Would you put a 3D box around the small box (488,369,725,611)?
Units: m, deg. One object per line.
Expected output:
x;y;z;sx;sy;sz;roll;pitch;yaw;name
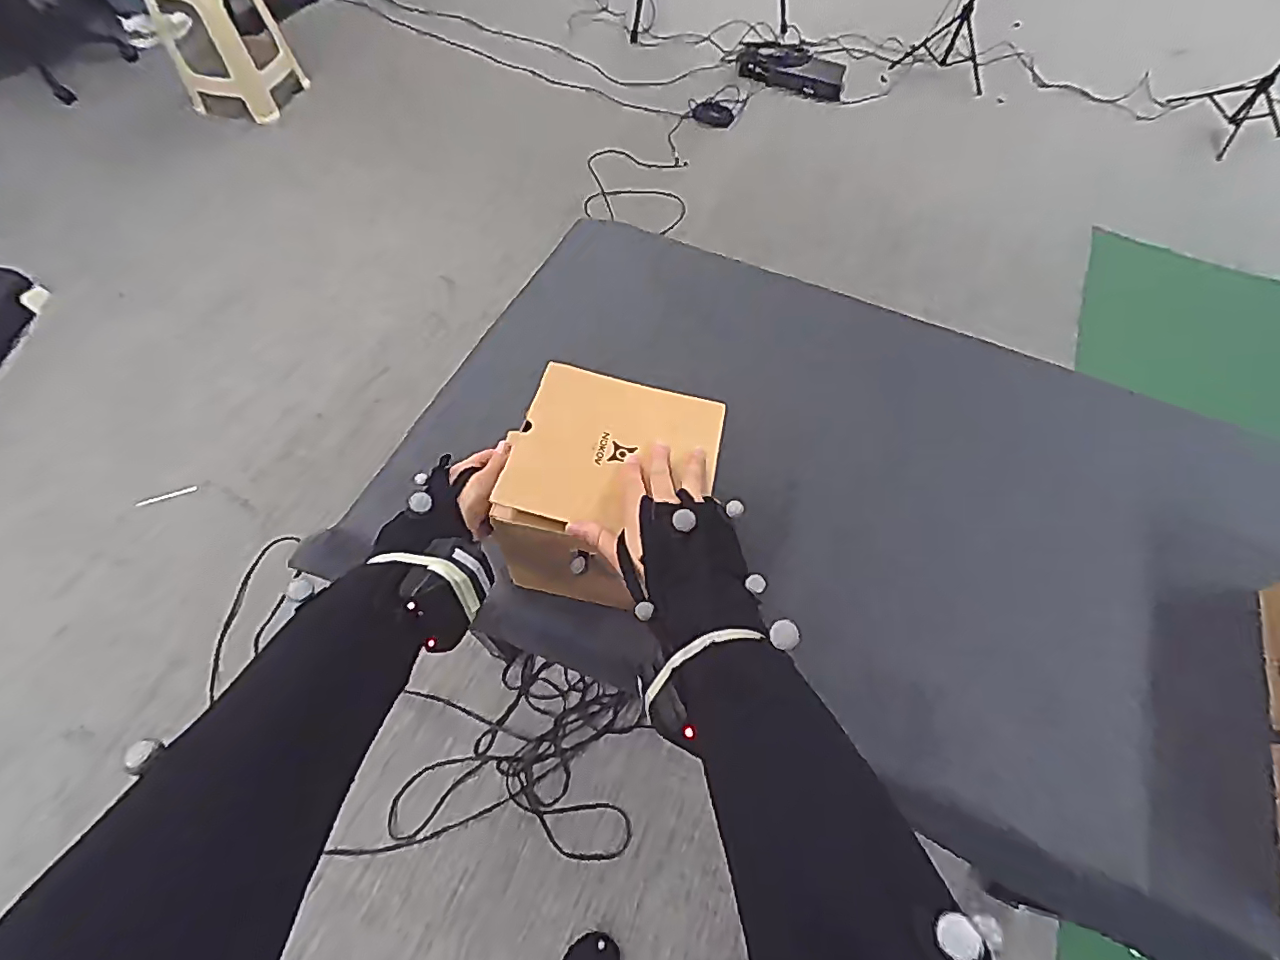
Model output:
-0.026;0.020;0.540;0.179;0.176;0.168;12;60;4;small box
